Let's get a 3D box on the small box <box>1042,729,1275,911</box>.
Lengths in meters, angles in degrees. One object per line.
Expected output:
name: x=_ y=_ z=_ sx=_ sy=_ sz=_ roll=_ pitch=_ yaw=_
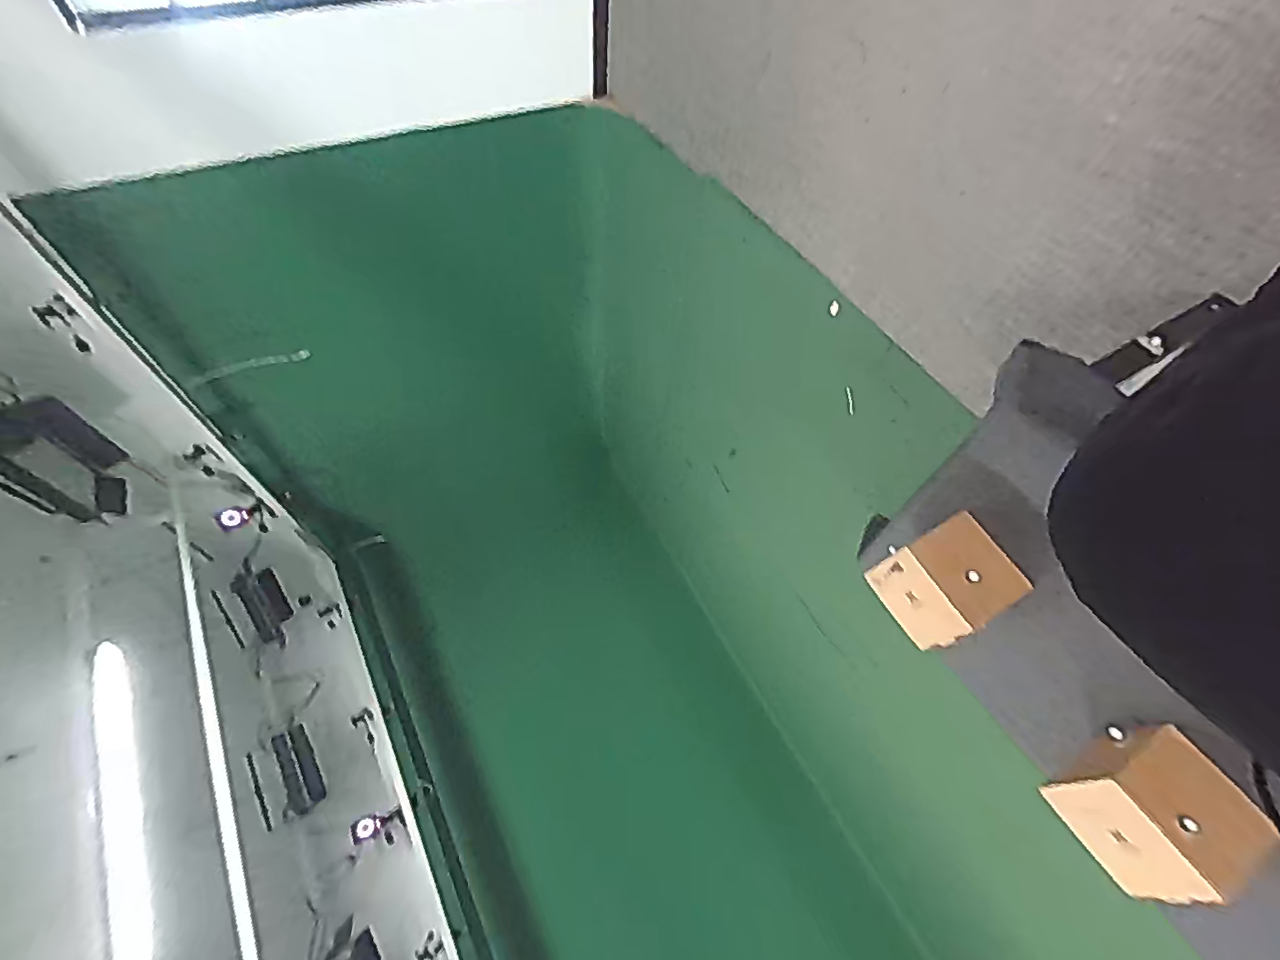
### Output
small box: x=0.812 y=0.531 z=0.857 sx=0.179 sy=0.176 sz=0.168 roll=57 pitch=157 yaw=28

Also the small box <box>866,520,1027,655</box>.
small box: x=0.589 y=0.207 z=1.046 sx=0.179 sy=0.176 sz=0.168 roll=57 pitch=158 yaw=21
